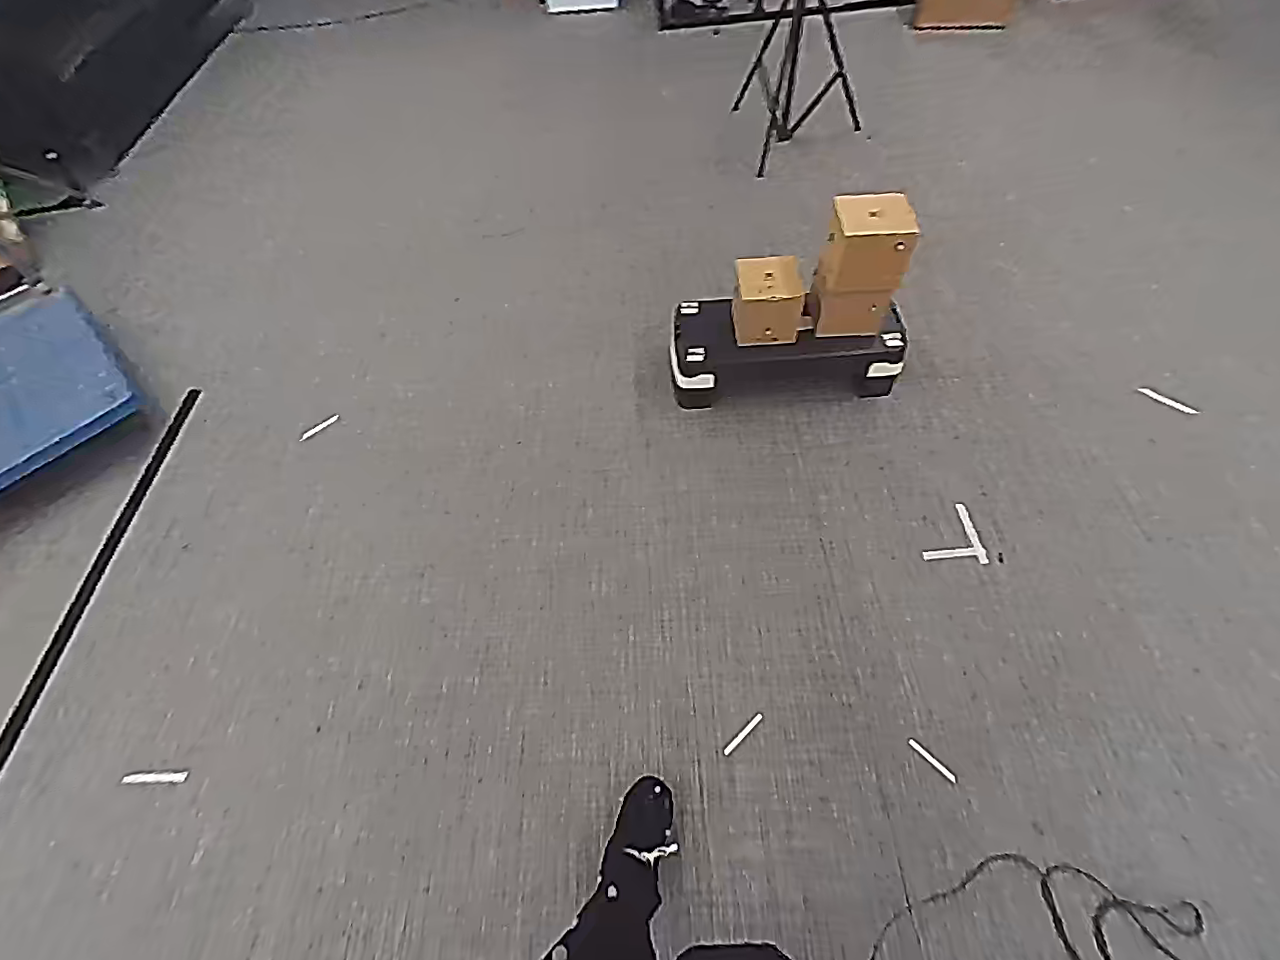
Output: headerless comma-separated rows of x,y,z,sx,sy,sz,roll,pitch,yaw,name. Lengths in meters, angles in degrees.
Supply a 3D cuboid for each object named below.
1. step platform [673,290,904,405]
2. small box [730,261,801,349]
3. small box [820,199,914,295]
0.447,-0.426,1.698,0.684,0.204,0.286,-5,57,3,step platform
0.351,-0.497,1.546,0.168,0.176,0.179,-3,58,4,small box
0.574,-0.597,1.396,0.179,0.176,0.168,-1,58,4,small box
